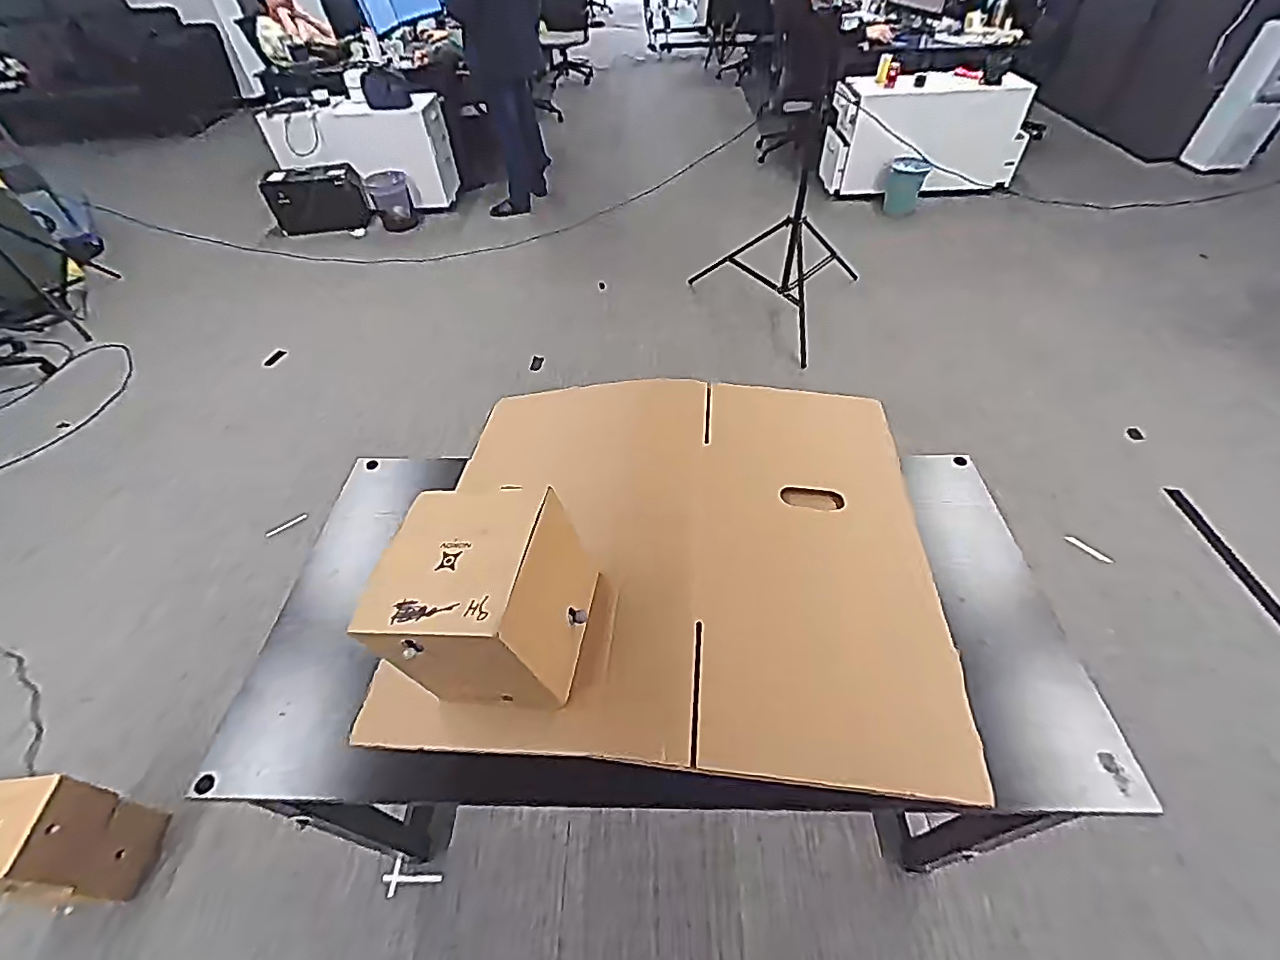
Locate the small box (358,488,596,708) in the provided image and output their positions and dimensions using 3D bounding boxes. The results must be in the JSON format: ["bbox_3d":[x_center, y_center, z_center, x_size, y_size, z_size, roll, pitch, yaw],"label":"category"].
[{"bbox_3d":[-0.160,0.131,0.604,0.168,0.176,0.179,-4,46,18],"label":"small box"}]

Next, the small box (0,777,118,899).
[{"bbox_3d":[-1.231,0.727,1.092,0.168,0.176,0.179,-5,47,-4],"label":"small box"}]

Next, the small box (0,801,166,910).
[{"bbox_3d":[-1.223,0.840,1.208,0.168,0.176,0.179,-4,48,-1],"label":"small box"}]
